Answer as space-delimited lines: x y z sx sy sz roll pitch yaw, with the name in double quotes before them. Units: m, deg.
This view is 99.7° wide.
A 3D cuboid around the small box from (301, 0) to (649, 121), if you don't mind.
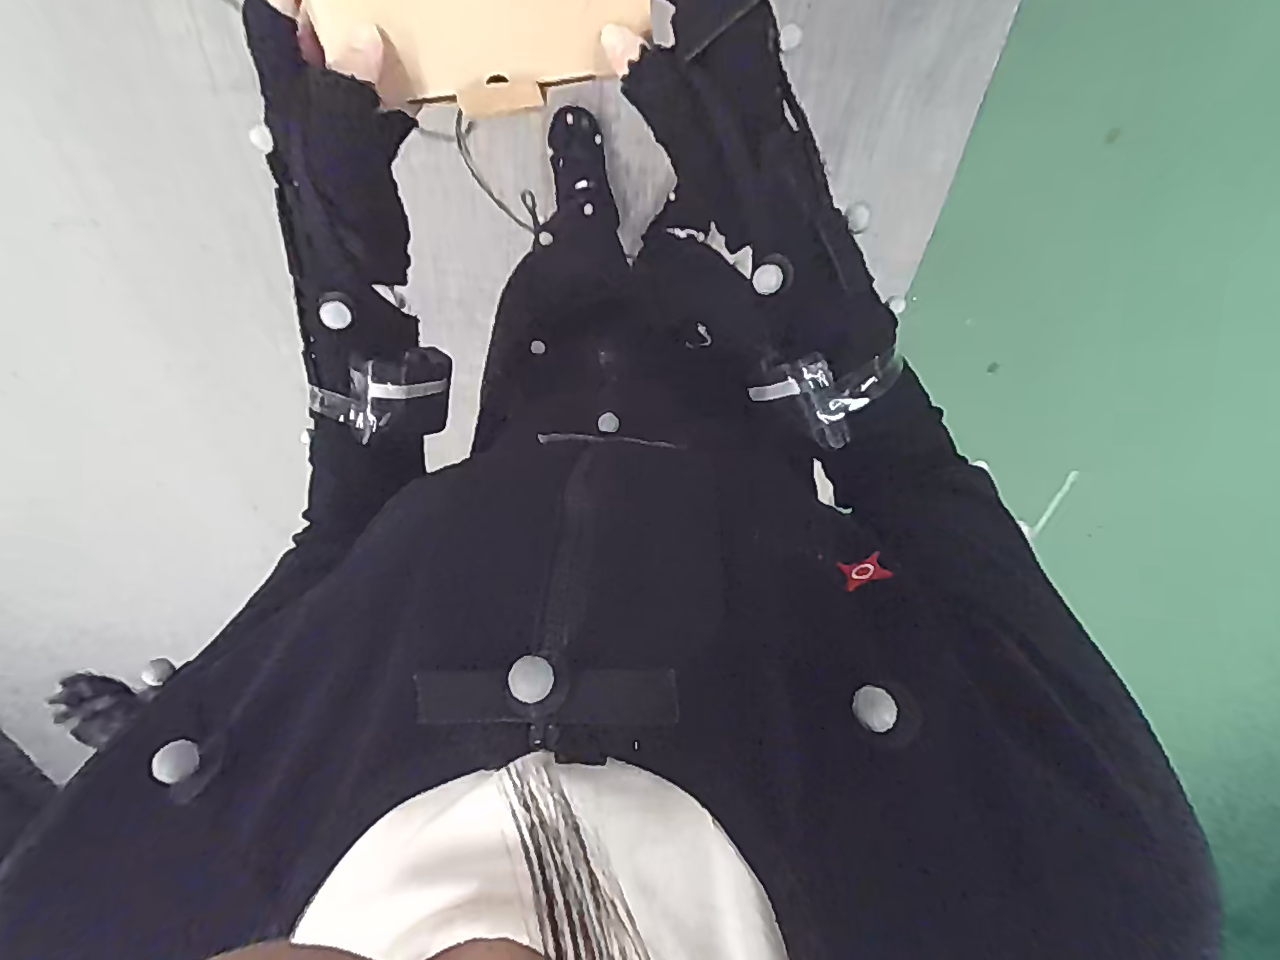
"small box" -0.088 -0.323 0.285 0.168 0.176 0.179 -6 134 8
